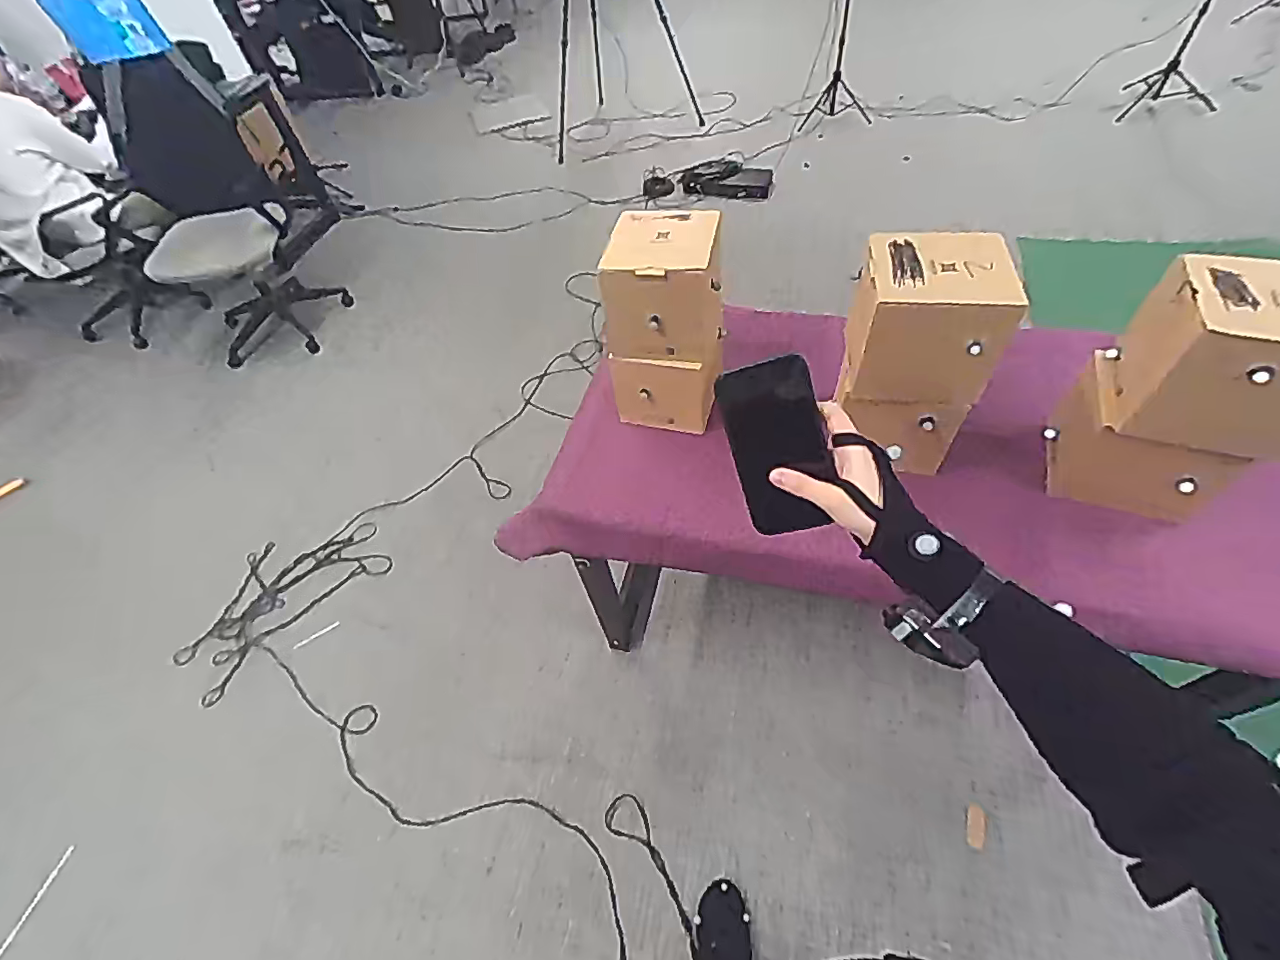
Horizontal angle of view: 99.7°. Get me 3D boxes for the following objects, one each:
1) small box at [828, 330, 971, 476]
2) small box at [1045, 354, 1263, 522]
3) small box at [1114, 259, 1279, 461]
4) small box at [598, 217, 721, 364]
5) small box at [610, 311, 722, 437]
[{"bbox_3d":[0.425,-0.125,0.903,0.179,0.176,0.168,9,54,16],"label":"small box"},{"bbox_3d":[0.744,-0.059,0.806,0.179,0.176,0.168,15,55,19],"label":"small box"},{"bbox_3d":[0.729,-0.146,0.667,0.179,0.176,0.168,15,55,18],"label":"small box"},{"bbox_3d":[0.043,-0.311,0.896,0.168,0.176,0.179,6,54,12],"label":"small box"},{"bbox_3d":[0.060,-0.204,1.020,0.168,0.176,0.179,10,54,16],"label":"small box"}]
